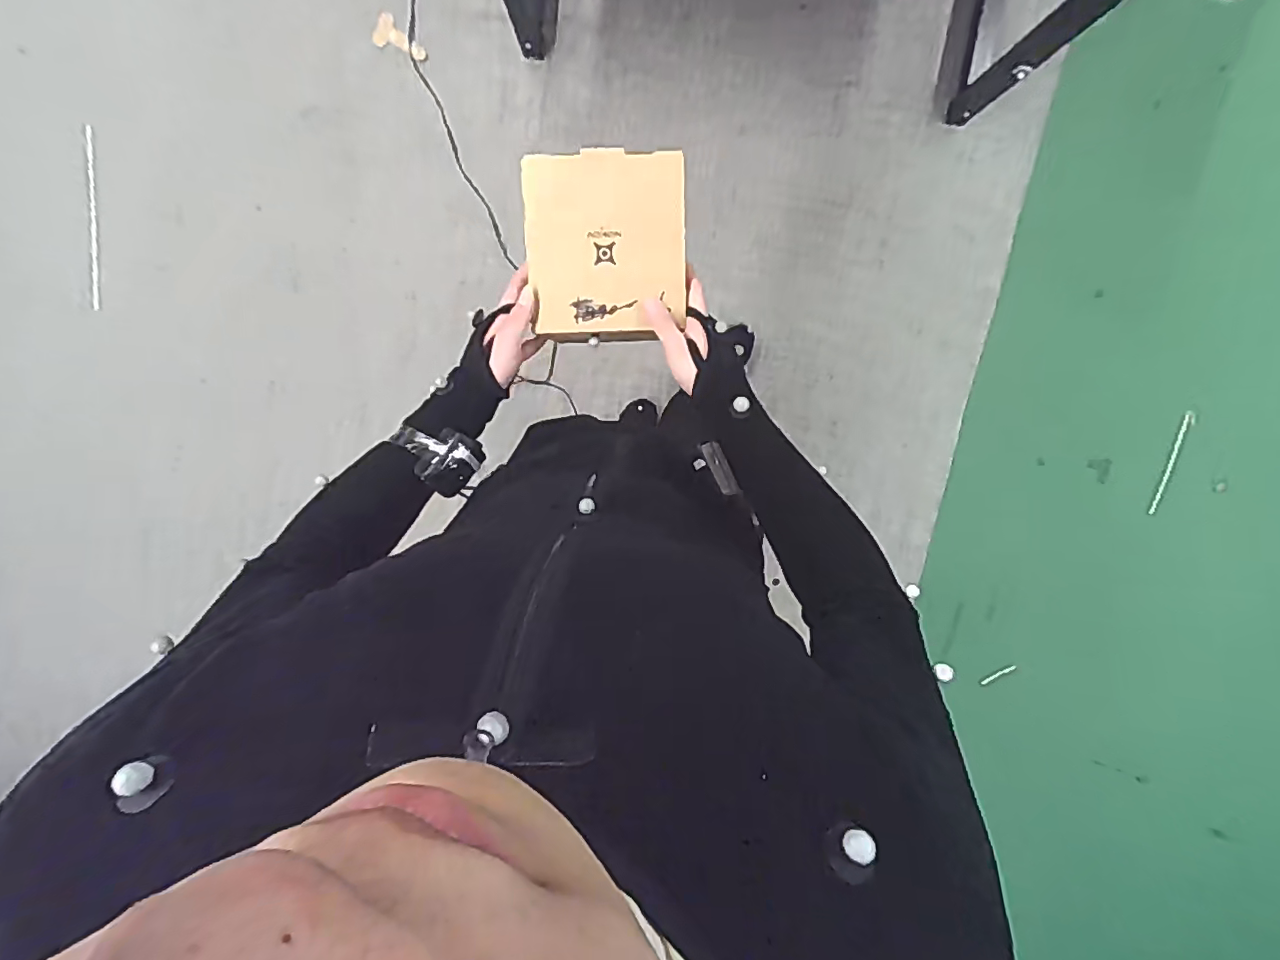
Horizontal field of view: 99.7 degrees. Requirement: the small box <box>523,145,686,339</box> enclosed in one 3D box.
[{"bbox_3d":[-0.037,-0.262,0.633,0.168,0.176,0.179,-1,101,0],"label":"small box"}]
